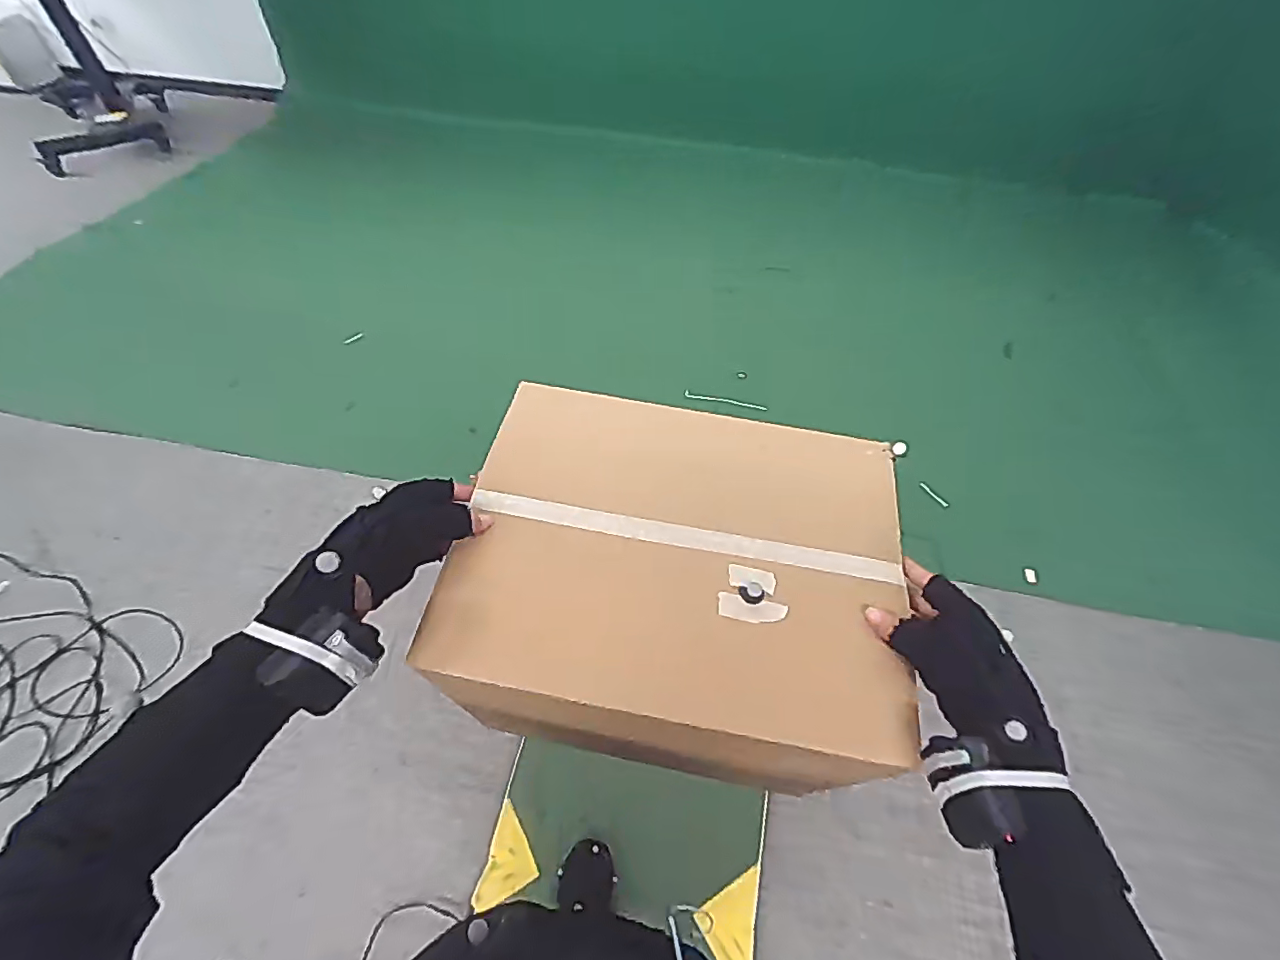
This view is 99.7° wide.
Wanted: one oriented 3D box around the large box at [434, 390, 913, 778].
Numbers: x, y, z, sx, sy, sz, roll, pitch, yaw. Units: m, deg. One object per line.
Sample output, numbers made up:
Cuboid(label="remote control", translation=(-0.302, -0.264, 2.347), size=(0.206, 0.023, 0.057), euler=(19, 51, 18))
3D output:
Cuboid(label="large box", translation=(0.037, 0.135, 0.641), size=(0.408, 0.320, 0.320), euler=(10, 57, 3))
